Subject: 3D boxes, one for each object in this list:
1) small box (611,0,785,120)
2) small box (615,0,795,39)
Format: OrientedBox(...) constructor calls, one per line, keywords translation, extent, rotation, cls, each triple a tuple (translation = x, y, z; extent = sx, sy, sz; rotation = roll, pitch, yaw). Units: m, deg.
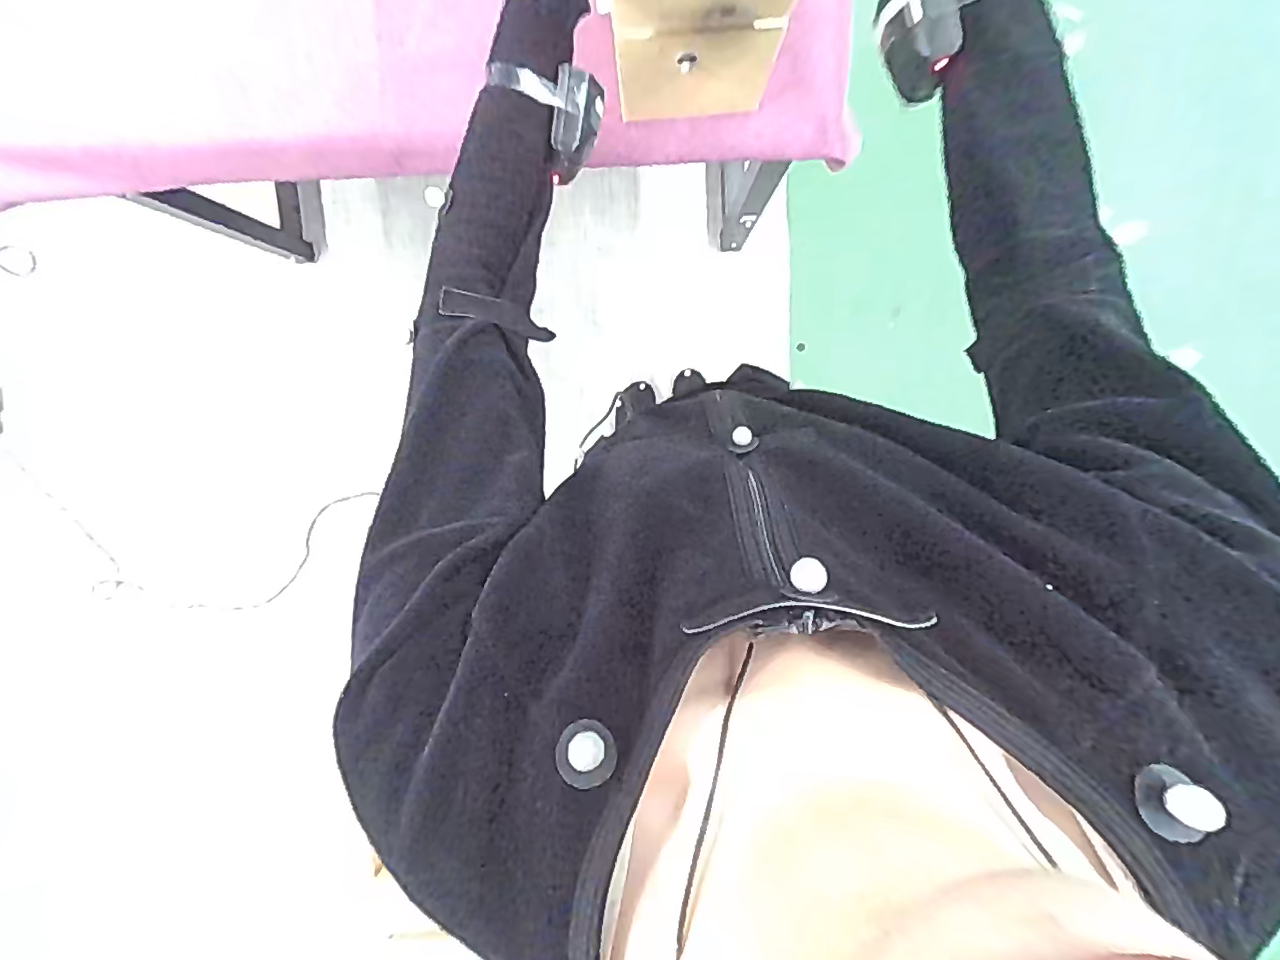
OrientedBox(translation=(0.059, -0.541, 0.617), extent=(0.179, 0.176, 0.168), rotation=(-3, 99, 2), cls="small box")
OrientedBox(translation=(0.054, -0.496, 0.423), extent=(0.168, 0.176, 0.179), rotation=(-2, 100, 2), cls="small box")
